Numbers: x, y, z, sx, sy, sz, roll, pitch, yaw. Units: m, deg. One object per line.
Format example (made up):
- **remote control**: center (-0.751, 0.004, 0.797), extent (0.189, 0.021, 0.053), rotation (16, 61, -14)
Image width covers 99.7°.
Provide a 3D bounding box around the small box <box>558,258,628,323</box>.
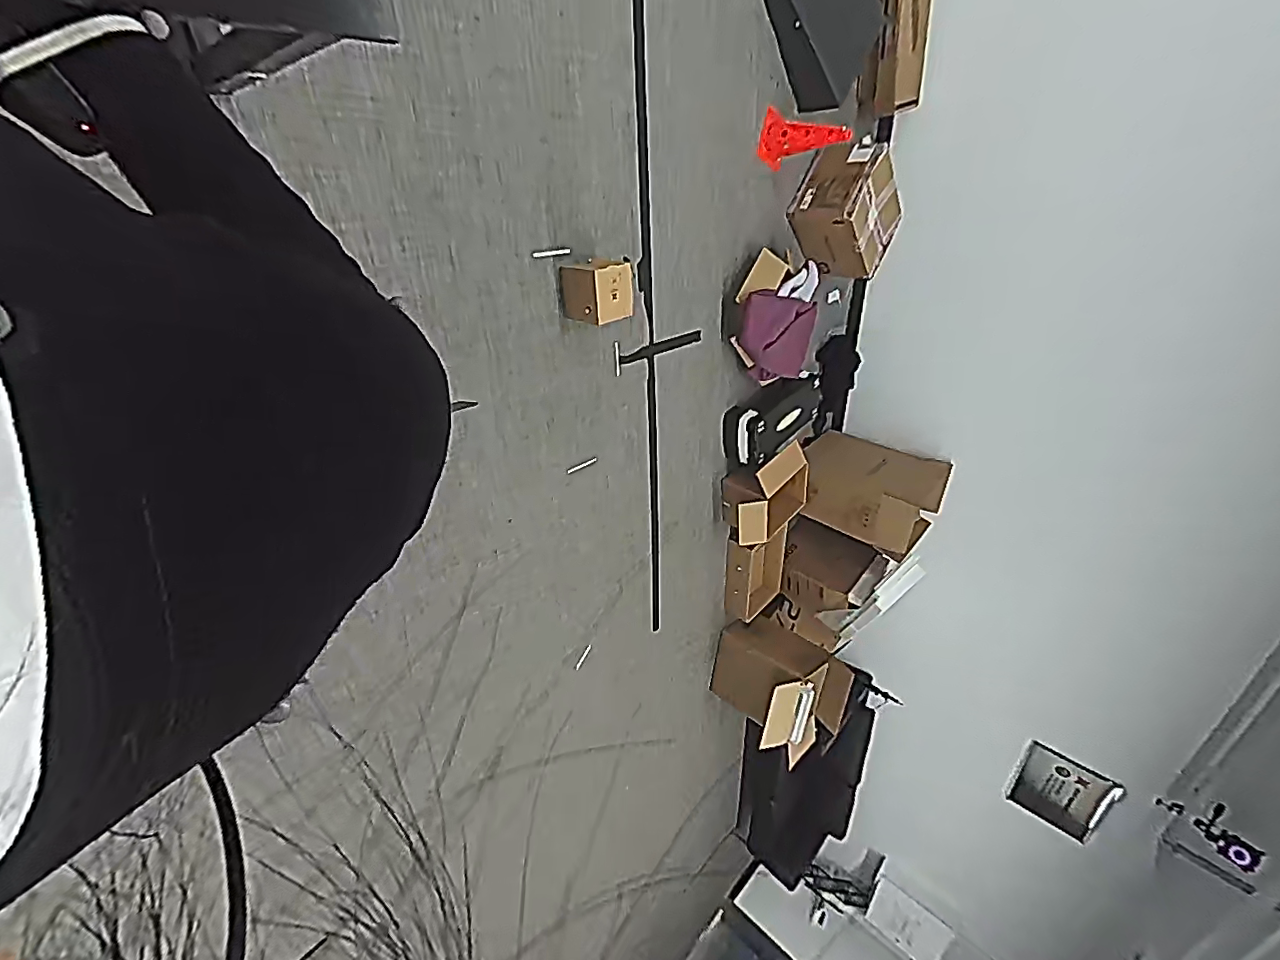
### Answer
- **small box**: center (-0.158, -0.646, 1.832), extent (0.168, 0.176, 0.179), rotation (-30, 130, -38)
